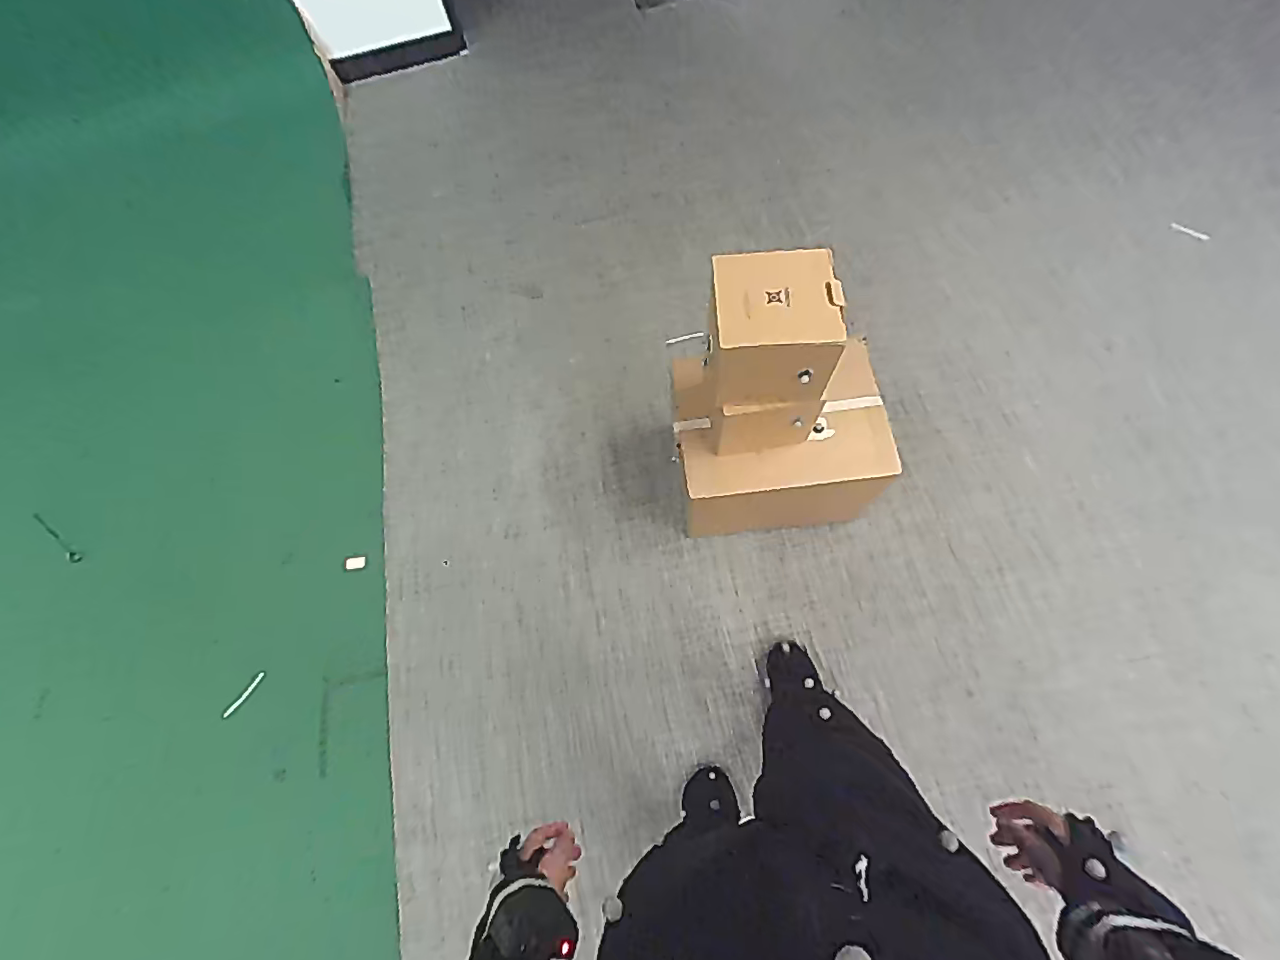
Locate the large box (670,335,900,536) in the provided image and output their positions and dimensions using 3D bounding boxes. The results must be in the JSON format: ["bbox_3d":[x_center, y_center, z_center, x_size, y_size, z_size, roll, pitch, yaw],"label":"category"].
[{"bbox_3d":[0.287,-0.081,1.211,0.408,0.320,0.320,-7,70,2],"label":"large box"}]

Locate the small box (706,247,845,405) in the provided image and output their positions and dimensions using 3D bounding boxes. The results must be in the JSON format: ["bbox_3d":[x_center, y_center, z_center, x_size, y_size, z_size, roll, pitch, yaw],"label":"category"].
[{"bbox_3d":[0.197,-0.230,0.839,0.179,0.176,0.168,-3,68,4],"label":"small box"}]
